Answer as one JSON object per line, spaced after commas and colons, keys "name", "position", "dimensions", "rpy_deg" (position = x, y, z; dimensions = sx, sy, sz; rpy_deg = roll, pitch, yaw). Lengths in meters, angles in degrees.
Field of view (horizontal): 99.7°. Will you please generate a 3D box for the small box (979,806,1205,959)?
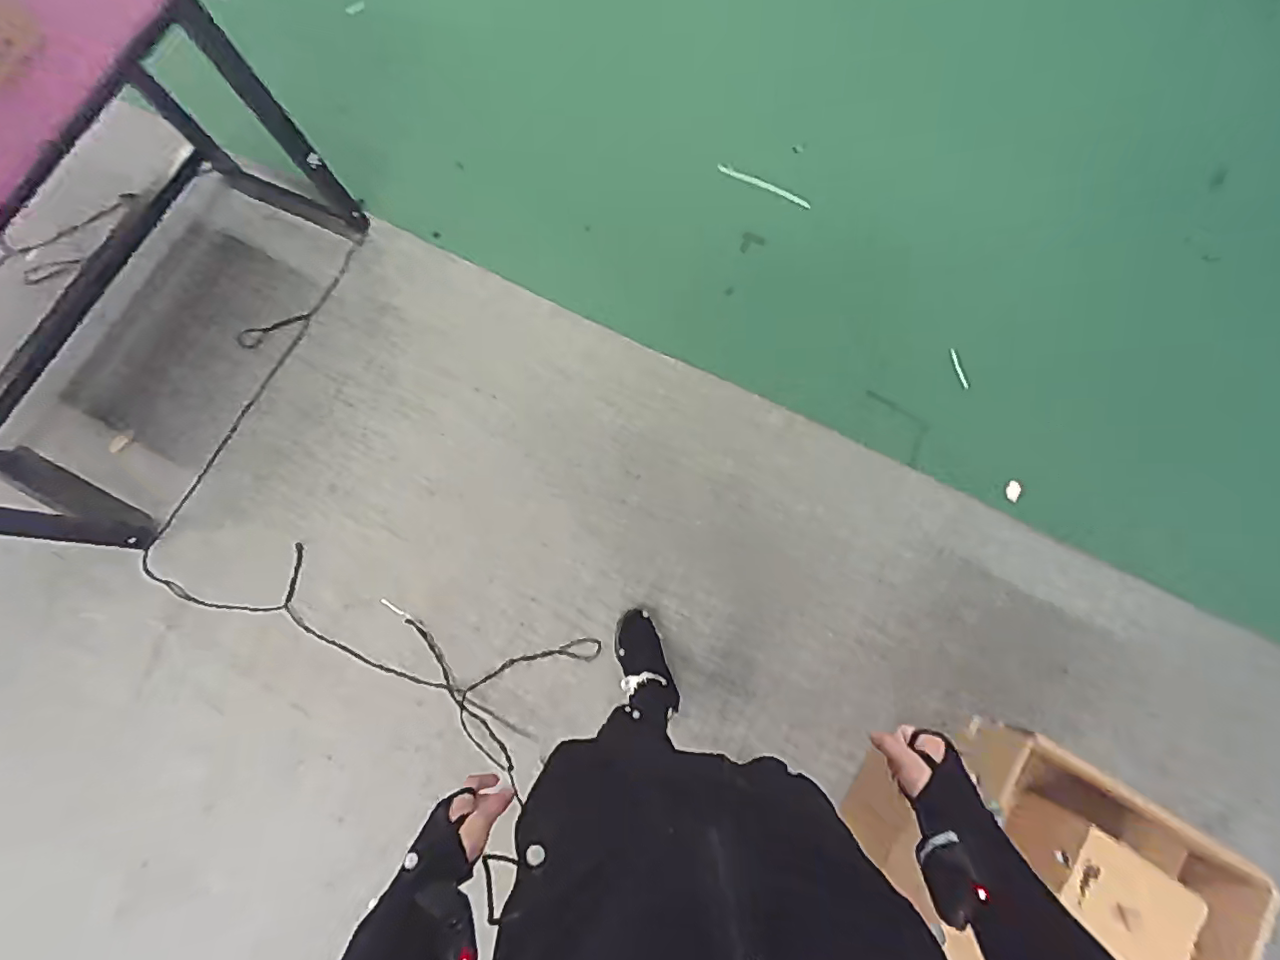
{"name": "small box", "position": [0.685, 0.653, 0.841], "dimensions": [0.179, 0.176, 0.168], "rpy_deg": [34, 80, 9]}
